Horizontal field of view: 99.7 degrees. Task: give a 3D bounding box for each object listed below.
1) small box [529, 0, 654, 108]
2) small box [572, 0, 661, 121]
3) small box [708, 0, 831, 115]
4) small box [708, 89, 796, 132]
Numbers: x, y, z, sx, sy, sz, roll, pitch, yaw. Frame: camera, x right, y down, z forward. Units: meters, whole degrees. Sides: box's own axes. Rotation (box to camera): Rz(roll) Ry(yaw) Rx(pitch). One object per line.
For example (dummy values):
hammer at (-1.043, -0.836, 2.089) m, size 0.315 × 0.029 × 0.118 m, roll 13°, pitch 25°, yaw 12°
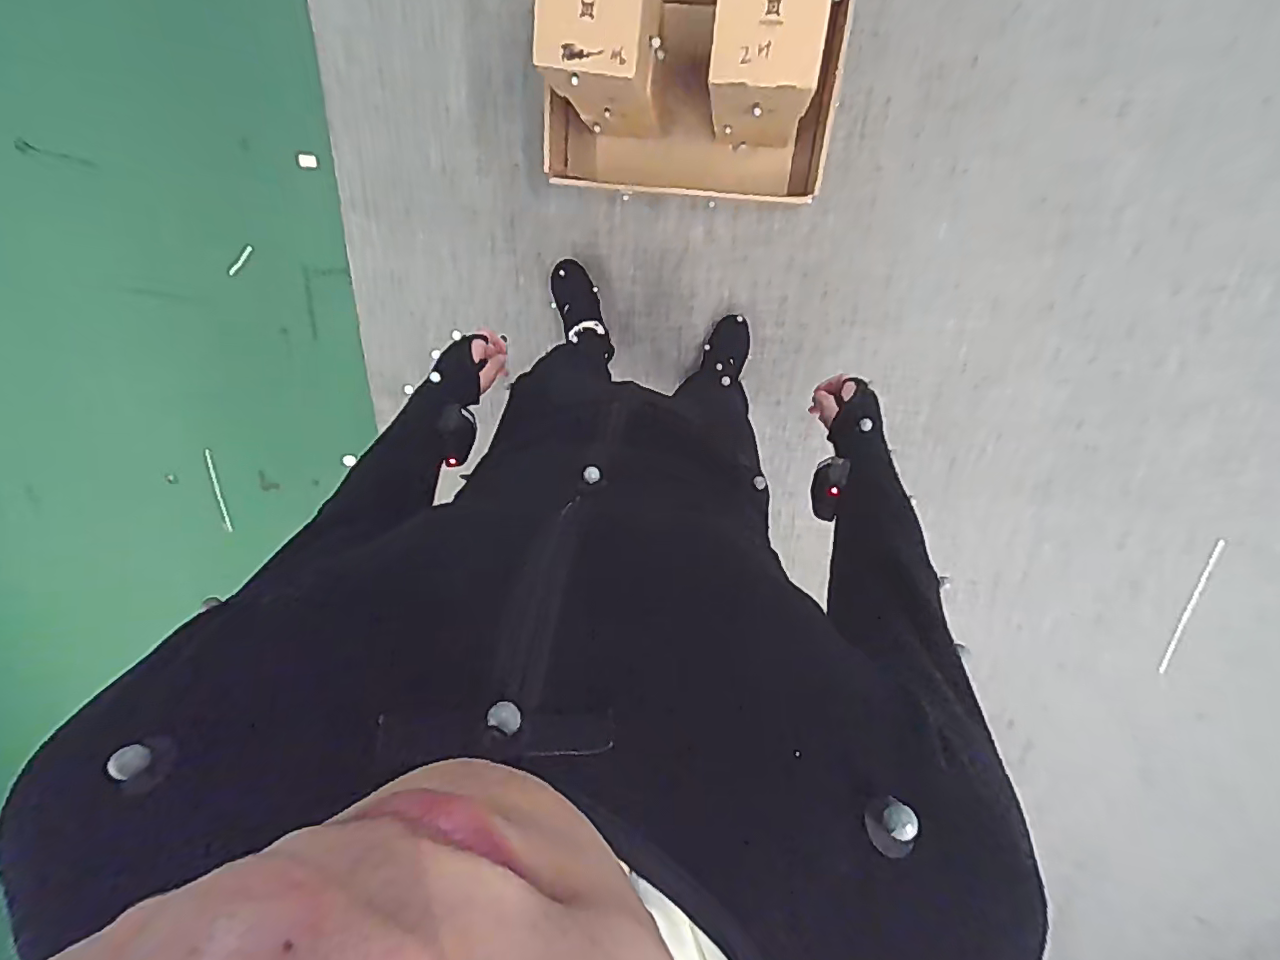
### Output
small box at (-0.072, -0.741, 0.879) m, size 0.168 × 0.176 × 0.179 m, roll 10°, pitch 111°, yaw 3°
small box at (-0.052, -0.812, 1.027) m, size 0.168 × 0.176 × 0.179 m, roll 7°, pitch 112°, yaw 3°
small box at (0.201, -0.708, 0.857) m, size 0.168 × 0.176 × 0.179 m, roll 8°, pitch 113°, yaw 6°
small box at (0.225, -0.771, 1.008) m, size 0.168 × 0.176 × 0.179 m, roll 10°, pitch 112°, yaw 5°
